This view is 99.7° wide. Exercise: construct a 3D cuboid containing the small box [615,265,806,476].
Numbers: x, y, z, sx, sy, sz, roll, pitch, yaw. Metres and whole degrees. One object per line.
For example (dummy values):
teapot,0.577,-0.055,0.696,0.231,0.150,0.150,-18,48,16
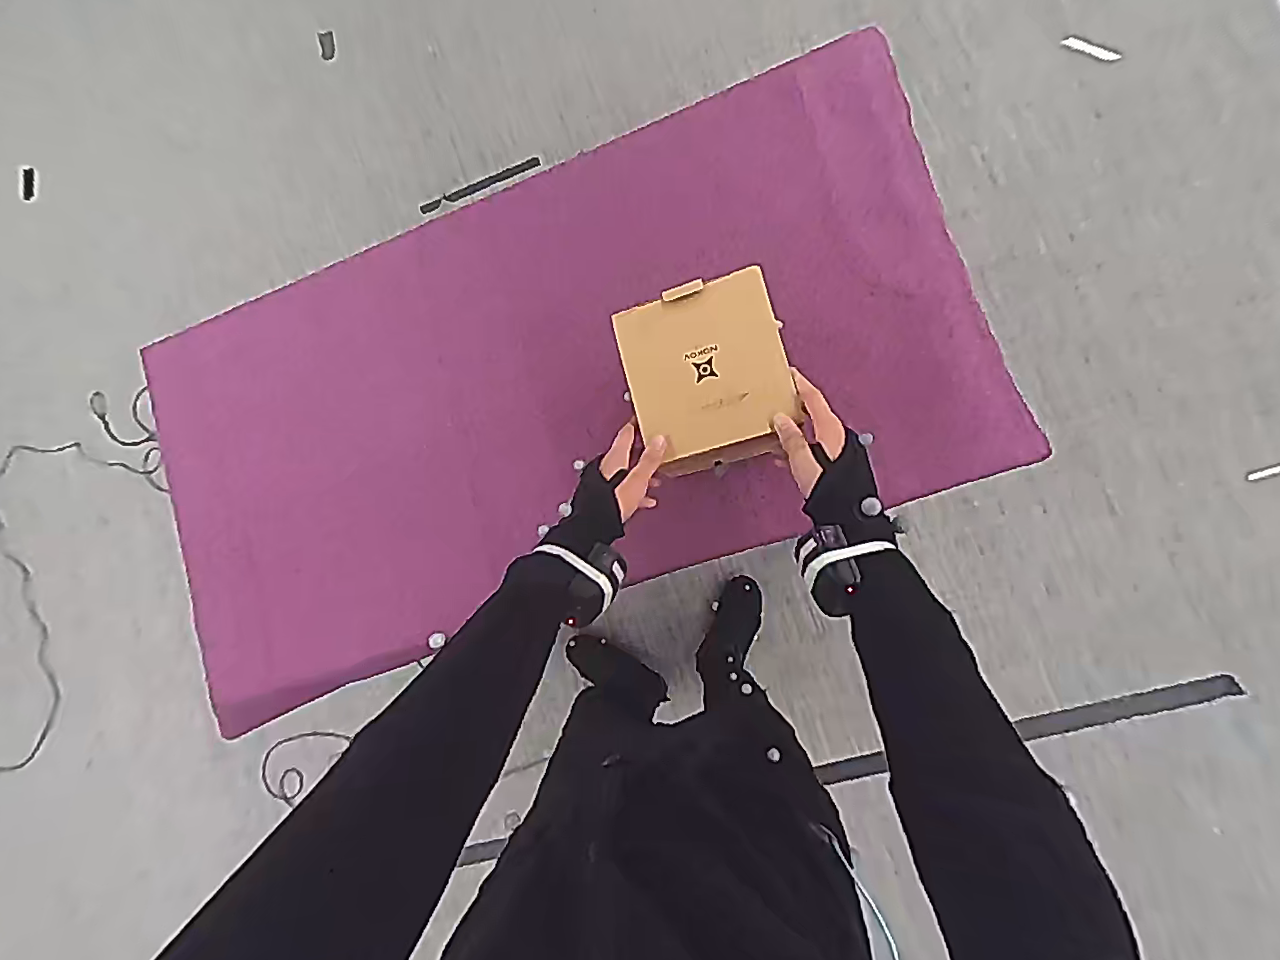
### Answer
small box,0.084,-0.112,0.632,0.168,0.176,0.179,-15,83,11
